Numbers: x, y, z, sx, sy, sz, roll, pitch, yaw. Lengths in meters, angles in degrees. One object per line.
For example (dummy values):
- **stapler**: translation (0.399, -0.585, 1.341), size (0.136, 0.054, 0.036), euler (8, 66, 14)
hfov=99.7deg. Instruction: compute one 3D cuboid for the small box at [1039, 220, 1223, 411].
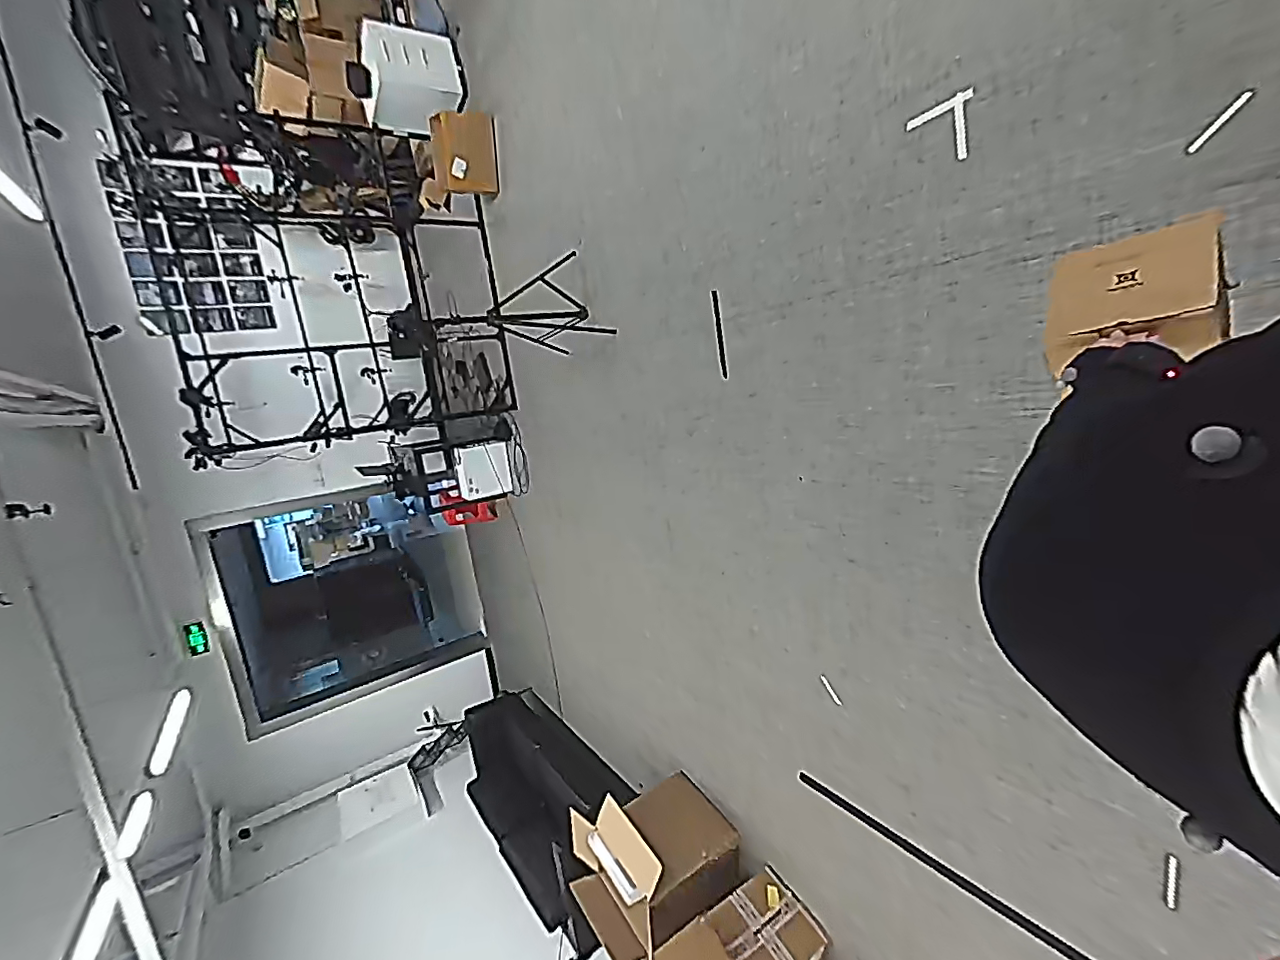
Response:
- **small box**: translation (0.684, -0.211, 0.751), size (0.168, 0.179, 0.176), euler (-2, 140, 49)
